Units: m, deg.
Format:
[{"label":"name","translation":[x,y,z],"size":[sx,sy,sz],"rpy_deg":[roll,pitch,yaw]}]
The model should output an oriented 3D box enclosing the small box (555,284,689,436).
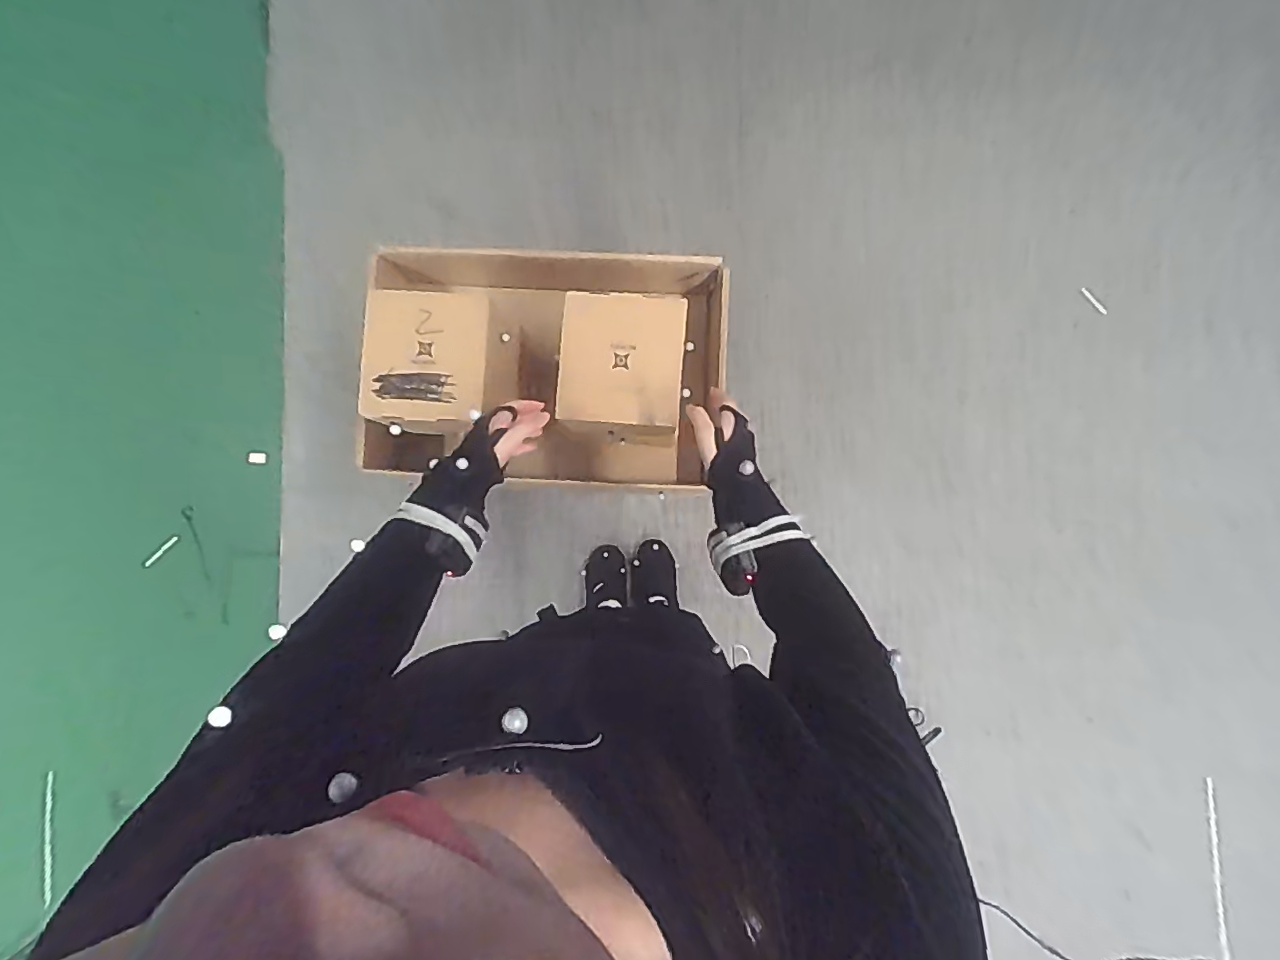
[{"label":"small box","translation":[-0.022,-0.167,0.797],"size":[0.168,0.176,0.179],"rpy_deg":[5,89,3]}]
